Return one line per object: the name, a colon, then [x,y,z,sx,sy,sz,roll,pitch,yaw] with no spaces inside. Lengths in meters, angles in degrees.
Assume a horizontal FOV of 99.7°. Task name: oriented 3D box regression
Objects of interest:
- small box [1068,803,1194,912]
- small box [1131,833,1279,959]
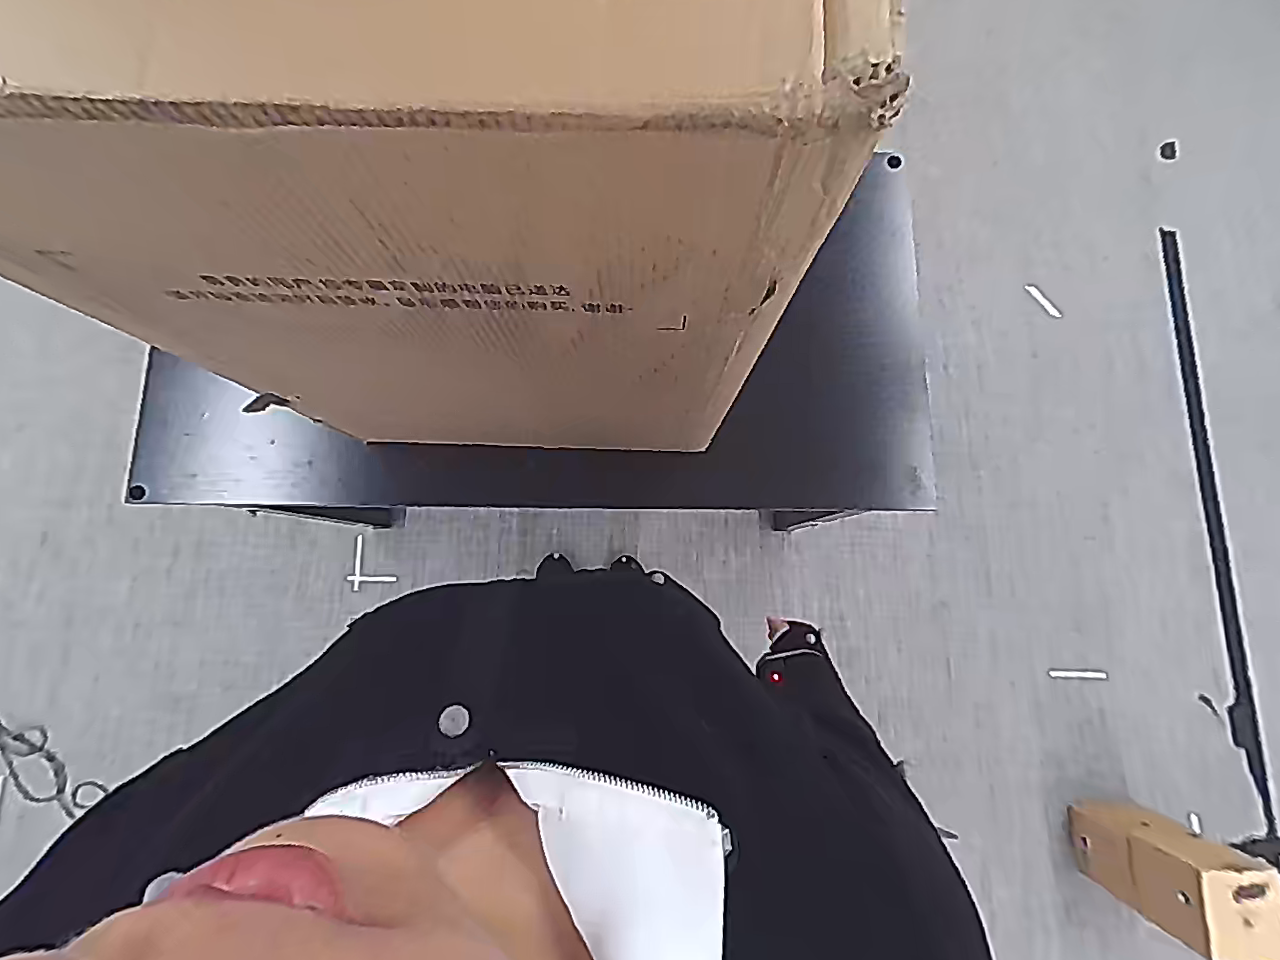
small box: [1.211,0.915,1.327,0.179,0.176,0.168,-4,80,0]
small box: [1.213,0.889,1.164,0.168,0.176,0.179,0,81,0]
